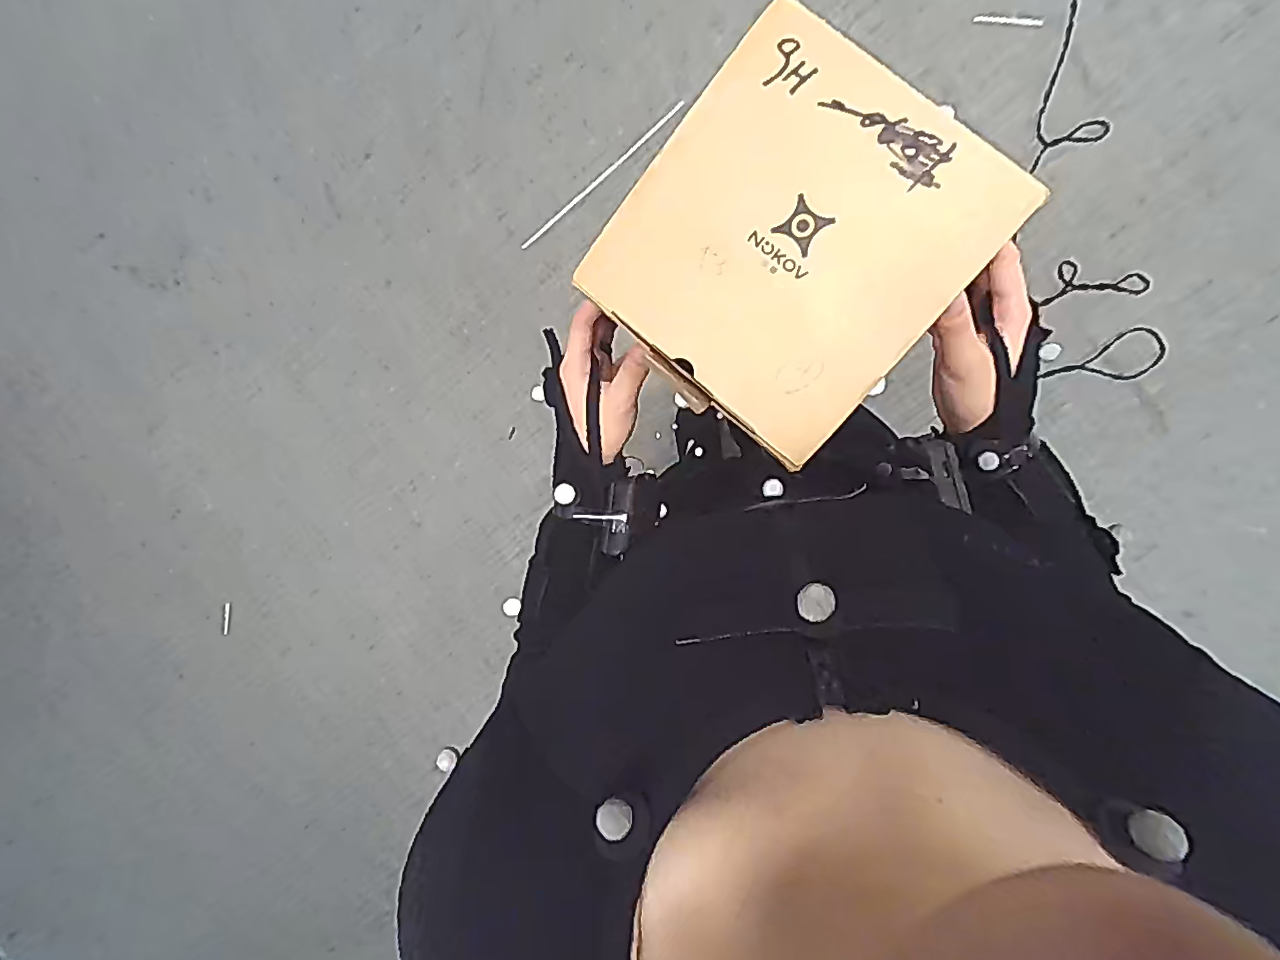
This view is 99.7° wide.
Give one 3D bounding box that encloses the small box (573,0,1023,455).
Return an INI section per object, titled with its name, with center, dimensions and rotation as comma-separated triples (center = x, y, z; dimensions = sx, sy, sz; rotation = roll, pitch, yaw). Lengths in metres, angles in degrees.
[small box]
center = 0.090, -0.136, 0.363
dimensions = 0.168, 0.176, 0.179
rotation = 41, 102, 5
